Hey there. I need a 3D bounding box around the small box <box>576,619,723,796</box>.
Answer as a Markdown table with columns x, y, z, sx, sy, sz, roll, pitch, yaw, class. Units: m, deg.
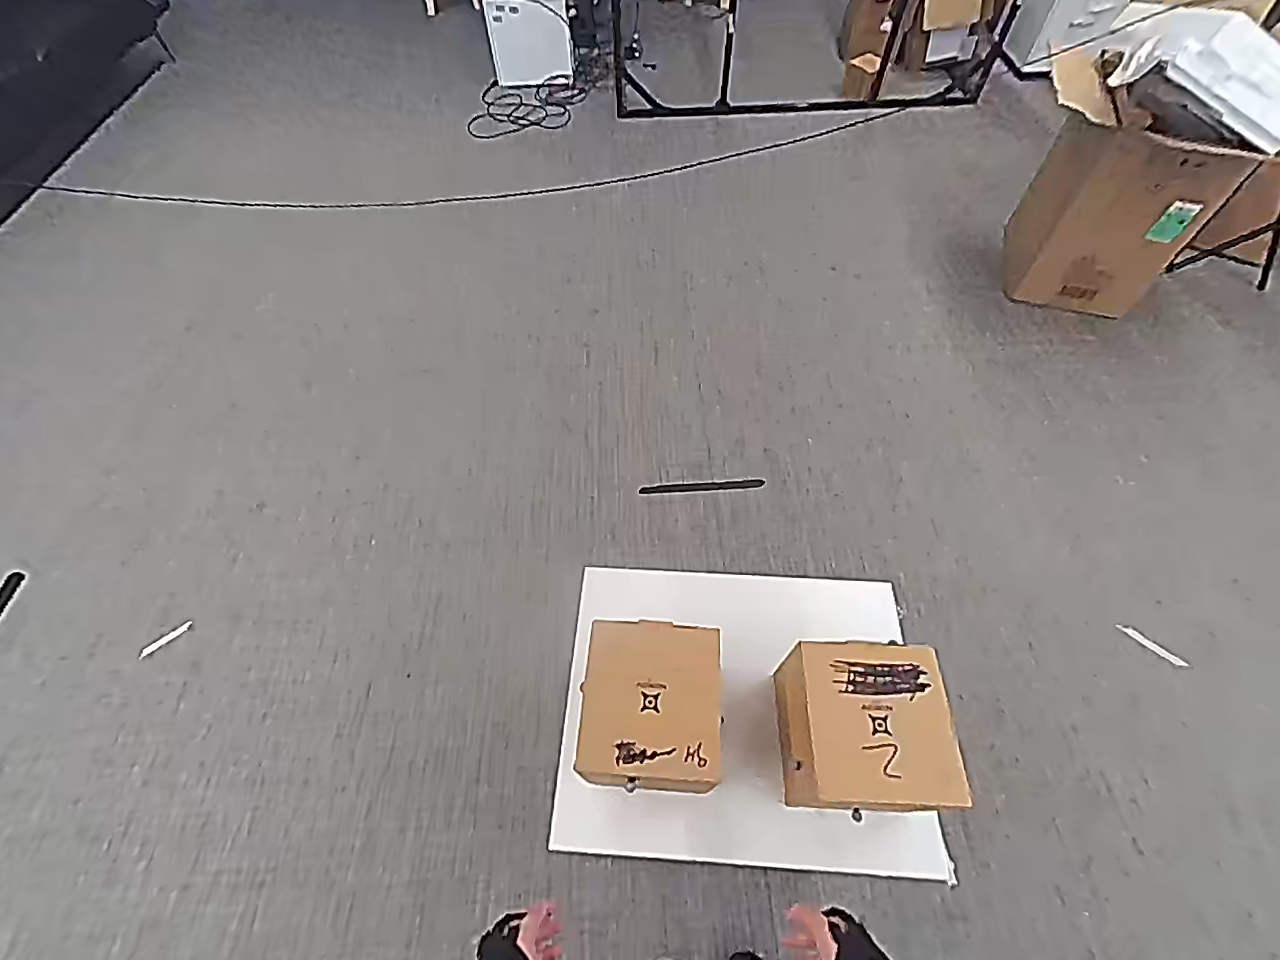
| x | y | z | sx | sy | sz | roll | pitch | yaw | class |
| --- | --- | --- | --- | --- | --- | --- | --- | --- | --- |
| 0.016 | 0.300 | 0.707 | 0.168 | 0.176 | 0.179 | 3 | 56 | 4 | small box |
